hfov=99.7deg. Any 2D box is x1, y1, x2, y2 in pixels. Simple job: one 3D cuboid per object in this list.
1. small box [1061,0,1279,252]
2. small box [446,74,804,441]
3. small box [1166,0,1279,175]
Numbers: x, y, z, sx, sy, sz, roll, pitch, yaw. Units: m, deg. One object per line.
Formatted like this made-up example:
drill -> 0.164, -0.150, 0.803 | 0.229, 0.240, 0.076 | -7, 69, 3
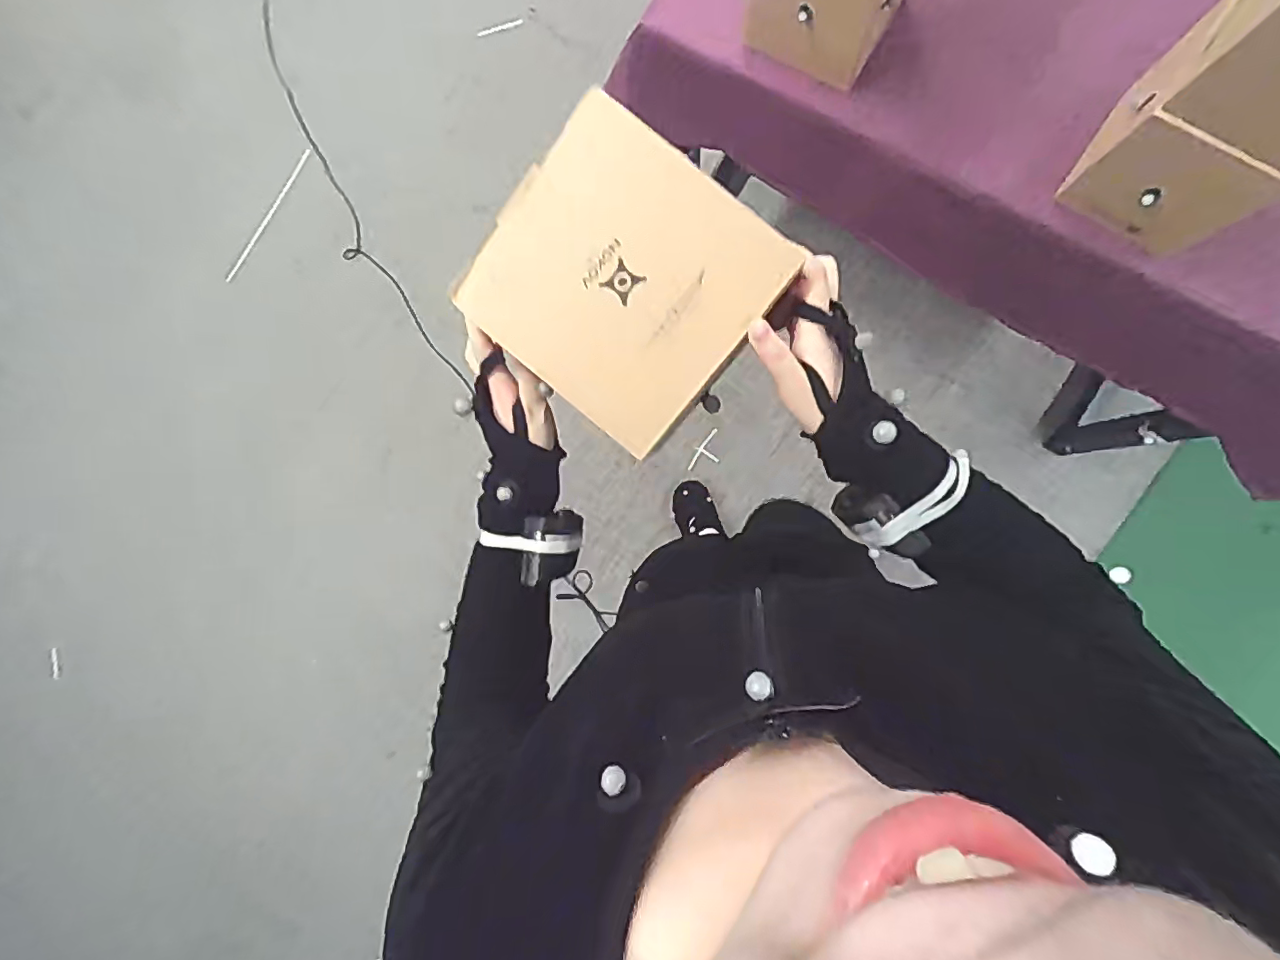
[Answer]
small box -> 0.670, -0.417, 0.658 | 0.168, 0.176, 0.179 | 34, 91, 5
small box -> -0.006, -0.147, 0.425 | 0.179, 0.176, 0.168 | 41, 99, 0
small box -> 0.663, -0.421, 0.493 | 0.179, 0.176, 0.168 | 35, 92, 5
